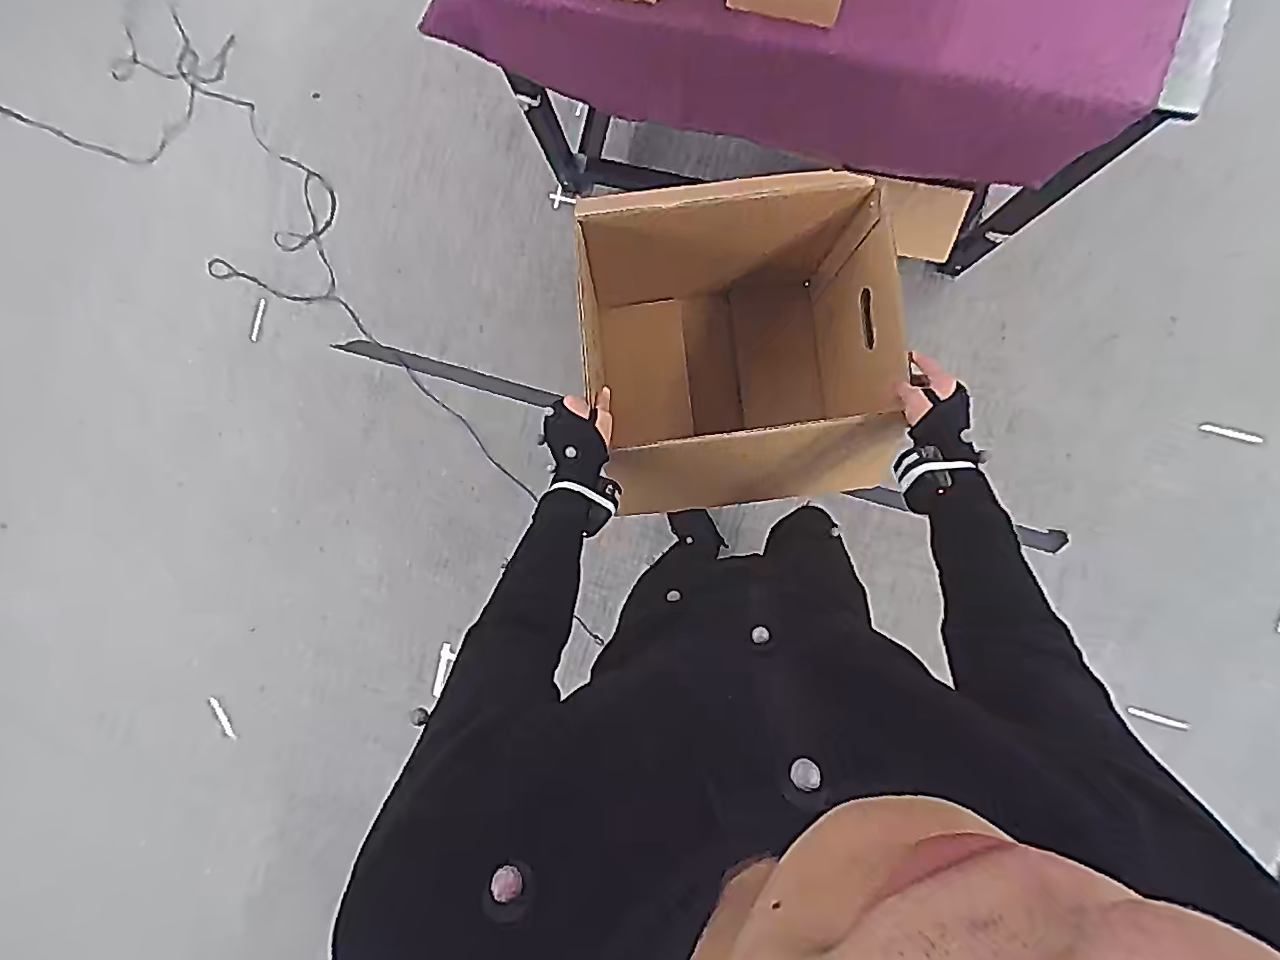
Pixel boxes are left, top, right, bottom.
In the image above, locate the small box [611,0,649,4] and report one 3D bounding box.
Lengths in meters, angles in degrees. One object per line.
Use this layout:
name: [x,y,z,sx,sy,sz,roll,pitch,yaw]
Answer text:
small box: [-0.052,-0.865,0.805,0.179,0.176,0.168,14,93,5]
